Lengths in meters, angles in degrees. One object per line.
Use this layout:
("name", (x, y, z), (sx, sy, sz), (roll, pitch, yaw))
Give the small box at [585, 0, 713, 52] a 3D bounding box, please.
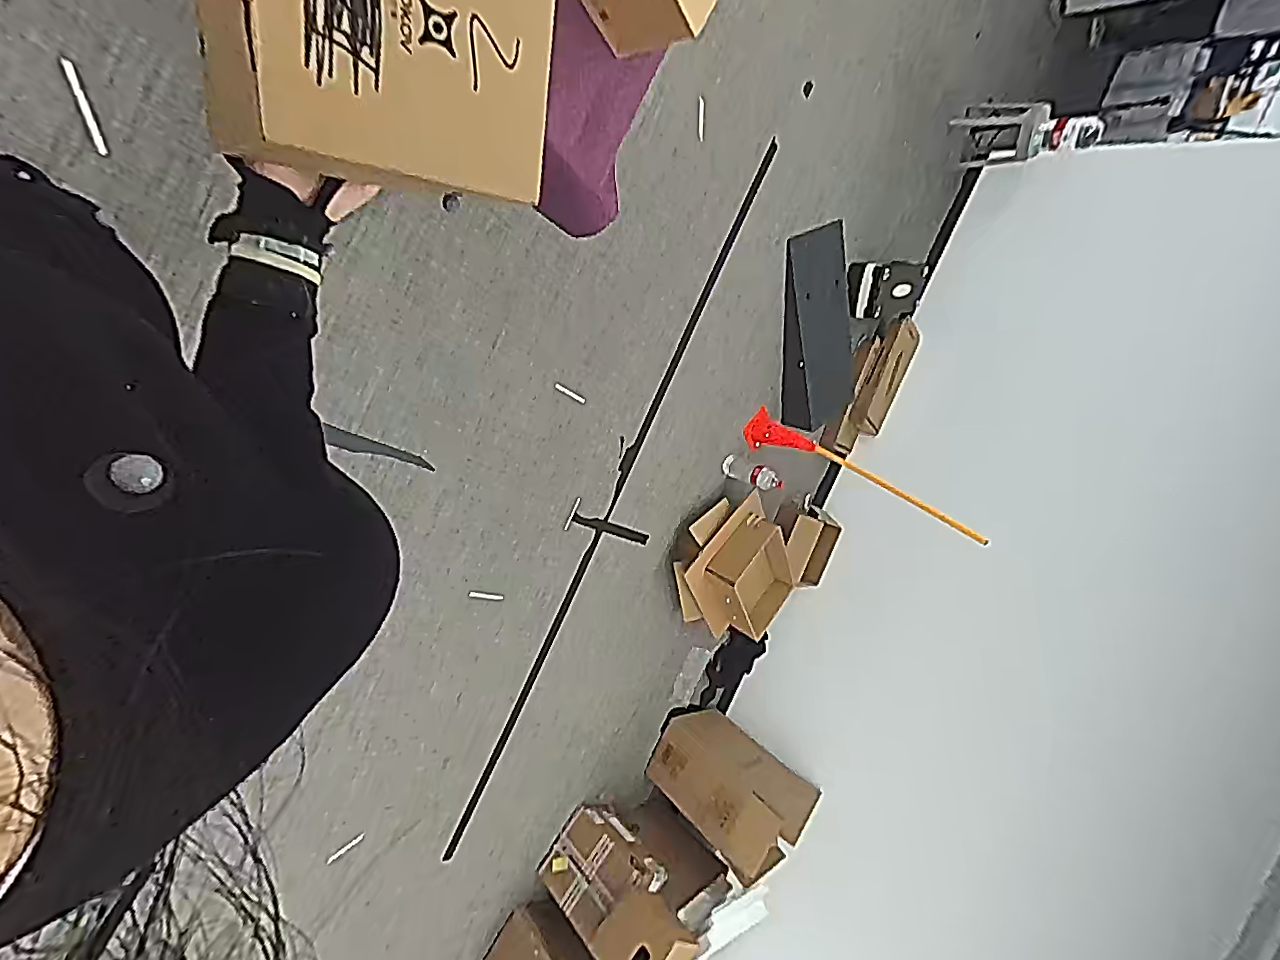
("small box", (0.011, -0.731, 0.730), (0.168, 0.176, 0.179), (32, 84, -50))
